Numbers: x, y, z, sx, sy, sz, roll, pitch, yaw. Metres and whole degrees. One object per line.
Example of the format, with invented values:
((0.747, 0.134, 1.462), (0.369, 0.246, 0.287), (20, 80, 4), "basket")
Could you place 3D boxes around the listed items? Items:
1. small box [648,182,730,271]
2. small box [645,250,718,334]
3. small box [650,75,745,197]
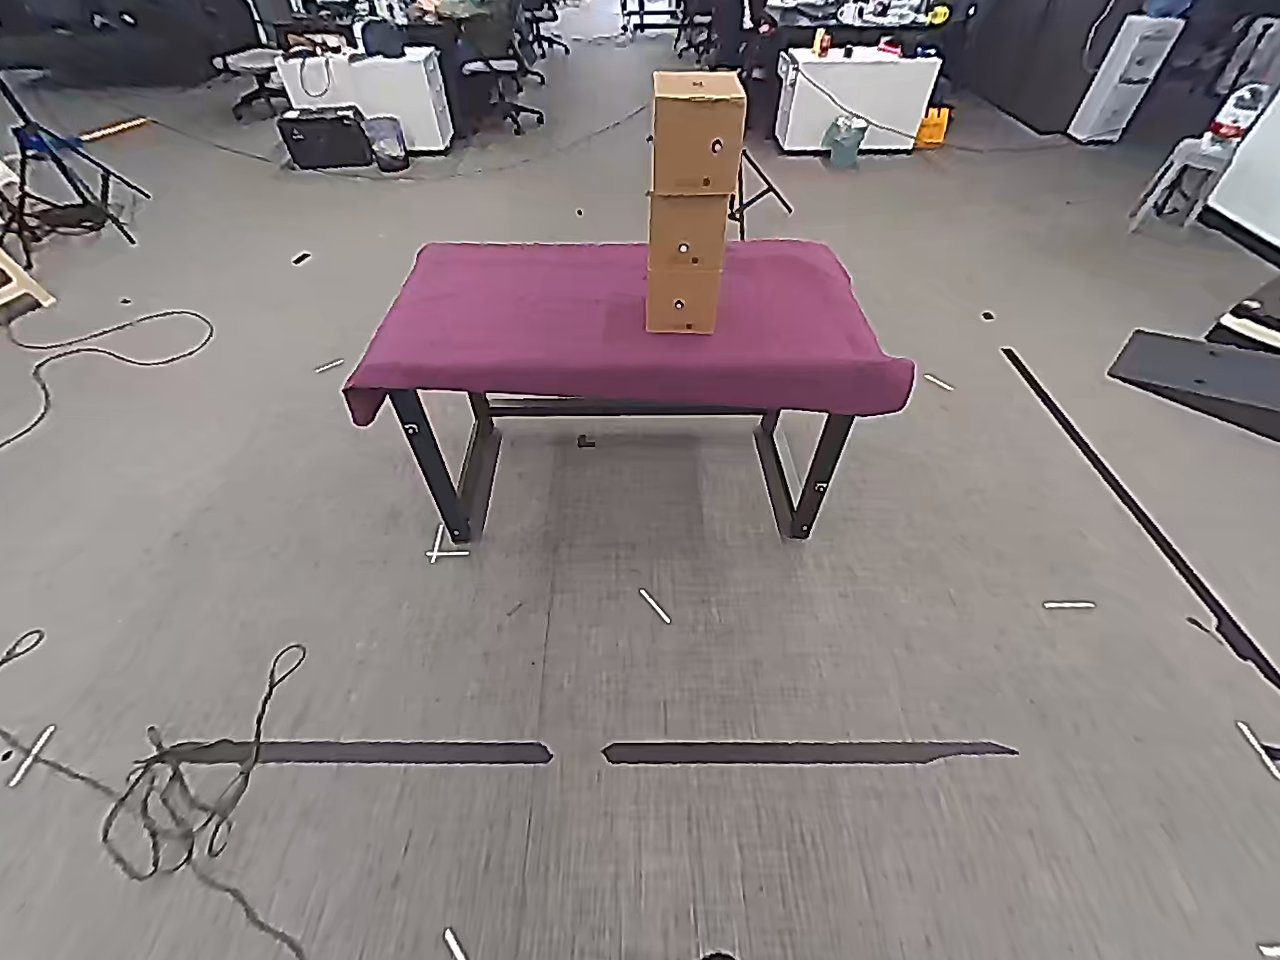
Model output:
((0.103, -0.588, 1.206), (0.168, 0.176, 0.179), (1, 49, 1), "small box")
((0.099, -0.476, 1.326), (0.168, 0.176, 0.179), (2, 48, 1), "small box")
((0.106, -0.679, 1.070), (0.168, 0.176, 0.179), (0, 48, -2), "small box")
